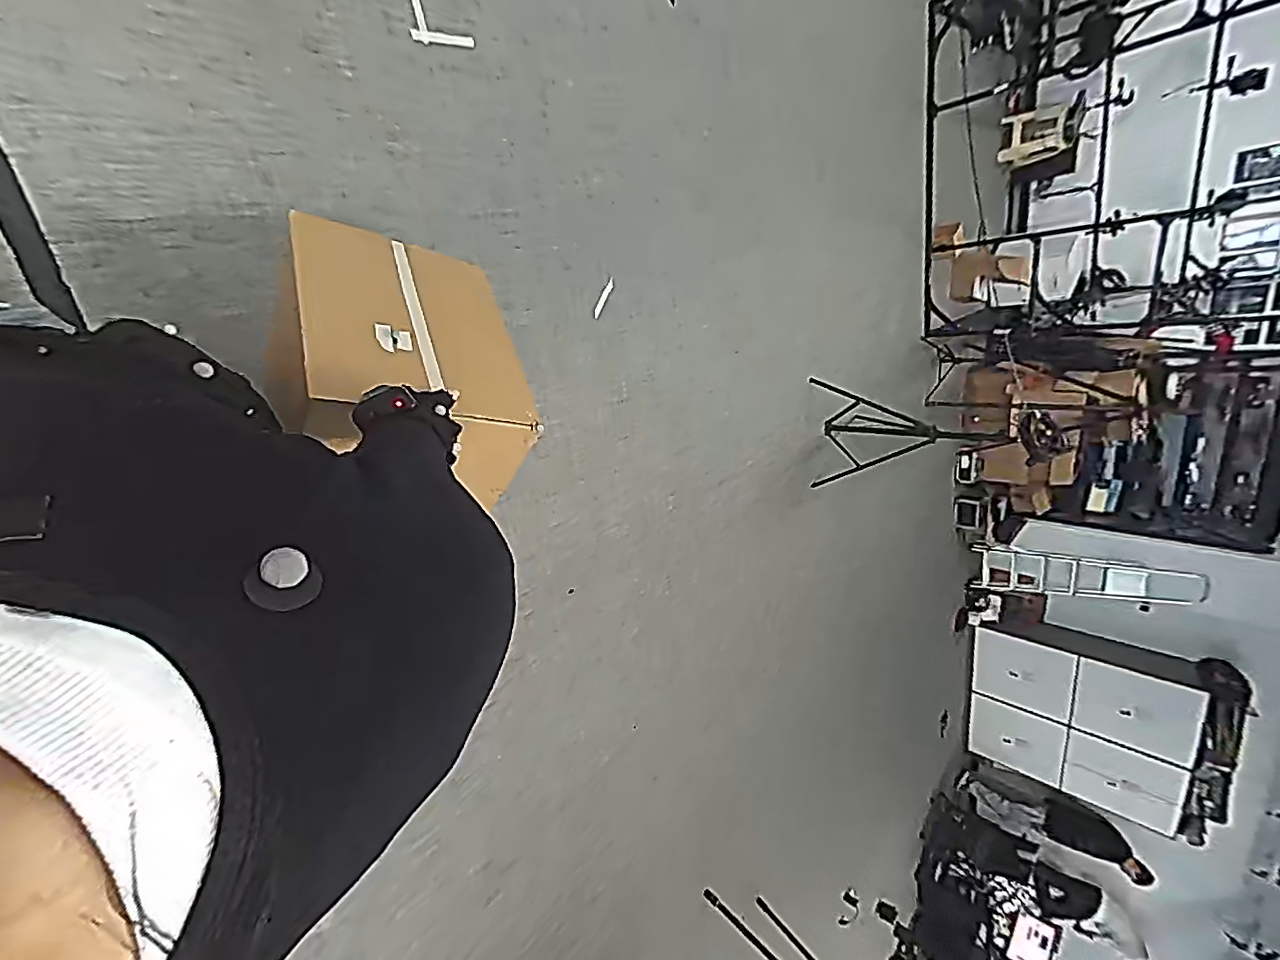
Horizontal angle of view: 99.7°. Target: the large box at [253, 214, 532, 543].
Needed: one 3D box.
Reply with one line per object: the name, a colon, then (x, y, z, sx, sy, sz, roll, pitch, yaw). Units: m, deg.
large box: (-0.434, -0.146, 0.902, 0.320, 0.320, 0.408, 3, 52, -40)
